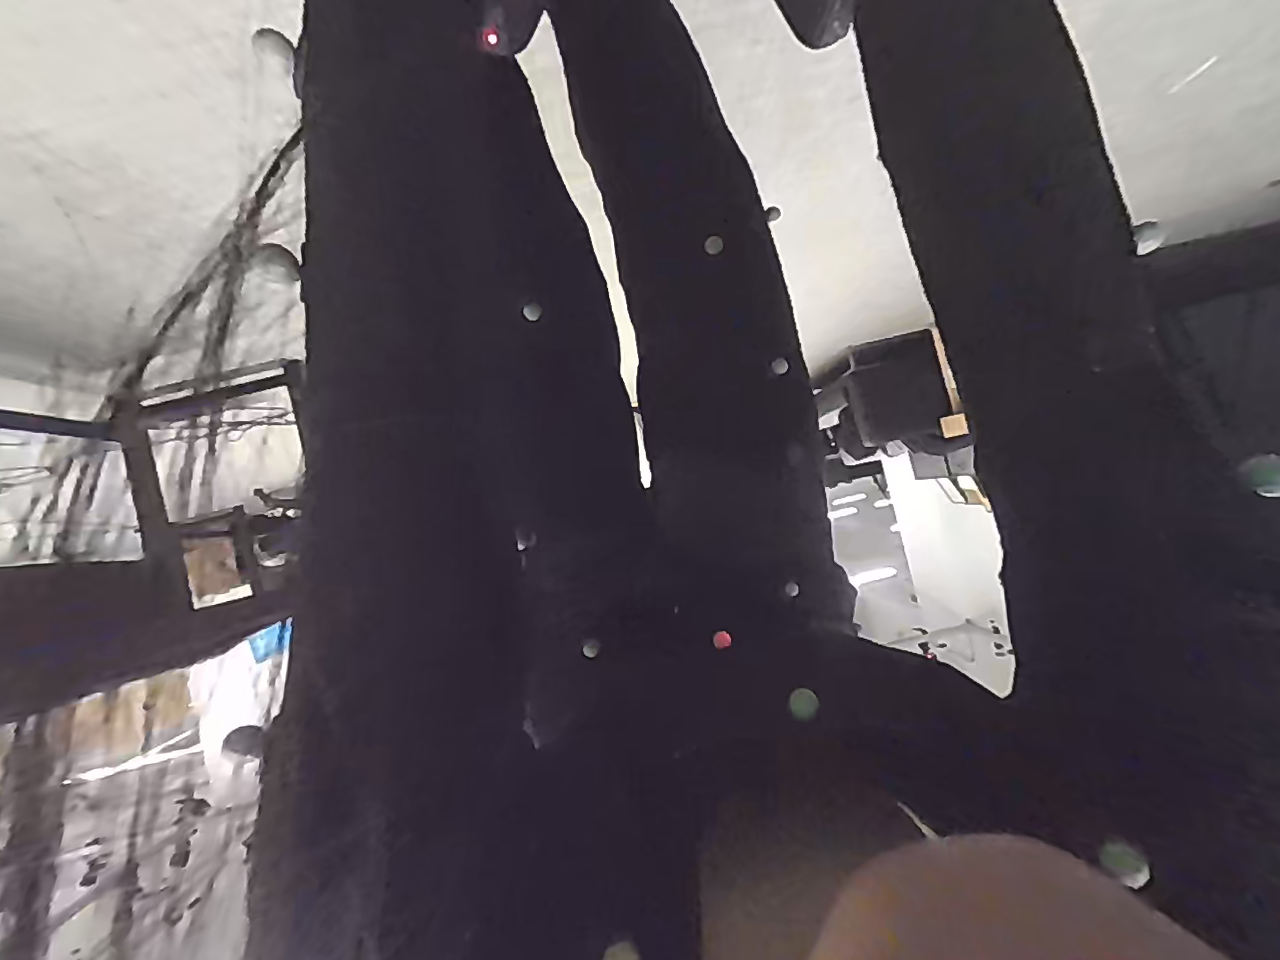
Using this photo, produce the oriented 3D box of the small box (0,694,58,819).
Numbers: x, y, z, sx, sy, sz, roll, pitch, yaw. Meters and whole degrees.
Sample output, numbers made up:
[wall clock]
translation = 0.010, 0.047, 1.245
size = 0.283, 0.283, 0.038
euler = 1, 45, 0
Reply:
[small box]
translation = -1.053, 0.444, 0.804
size = 0.168, 0.176, 0.179
euler = -13, 178, 0
